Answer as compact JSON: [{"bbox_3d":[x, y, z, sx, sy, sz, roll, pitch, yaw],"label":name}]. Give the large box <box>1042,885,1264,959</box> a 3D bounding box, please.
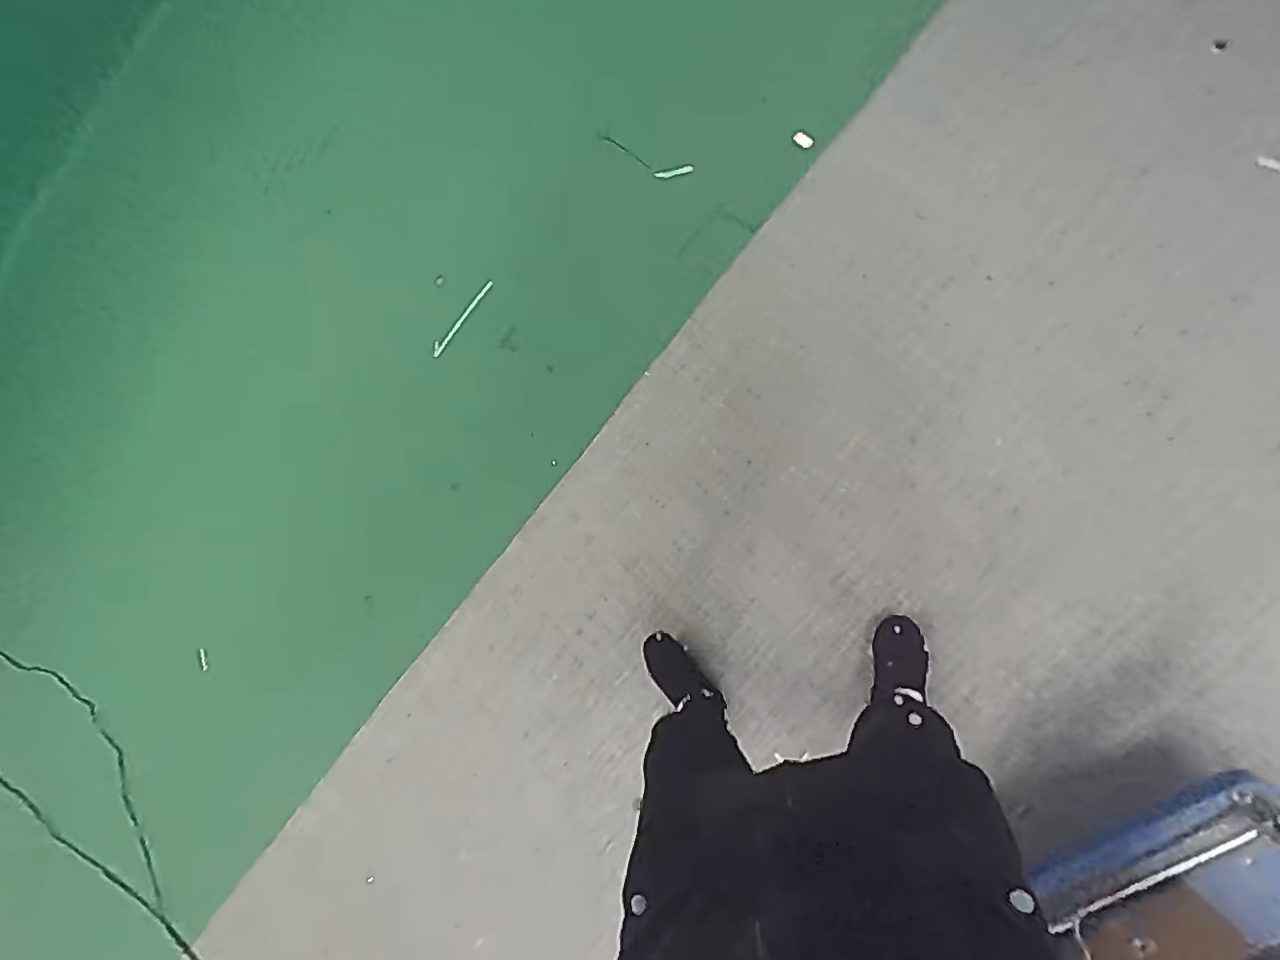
[{"bbox_3d":[0.925,0.951,0.805,0.320,0.320,0.408,-39,73,11],"label":"large box"}]
